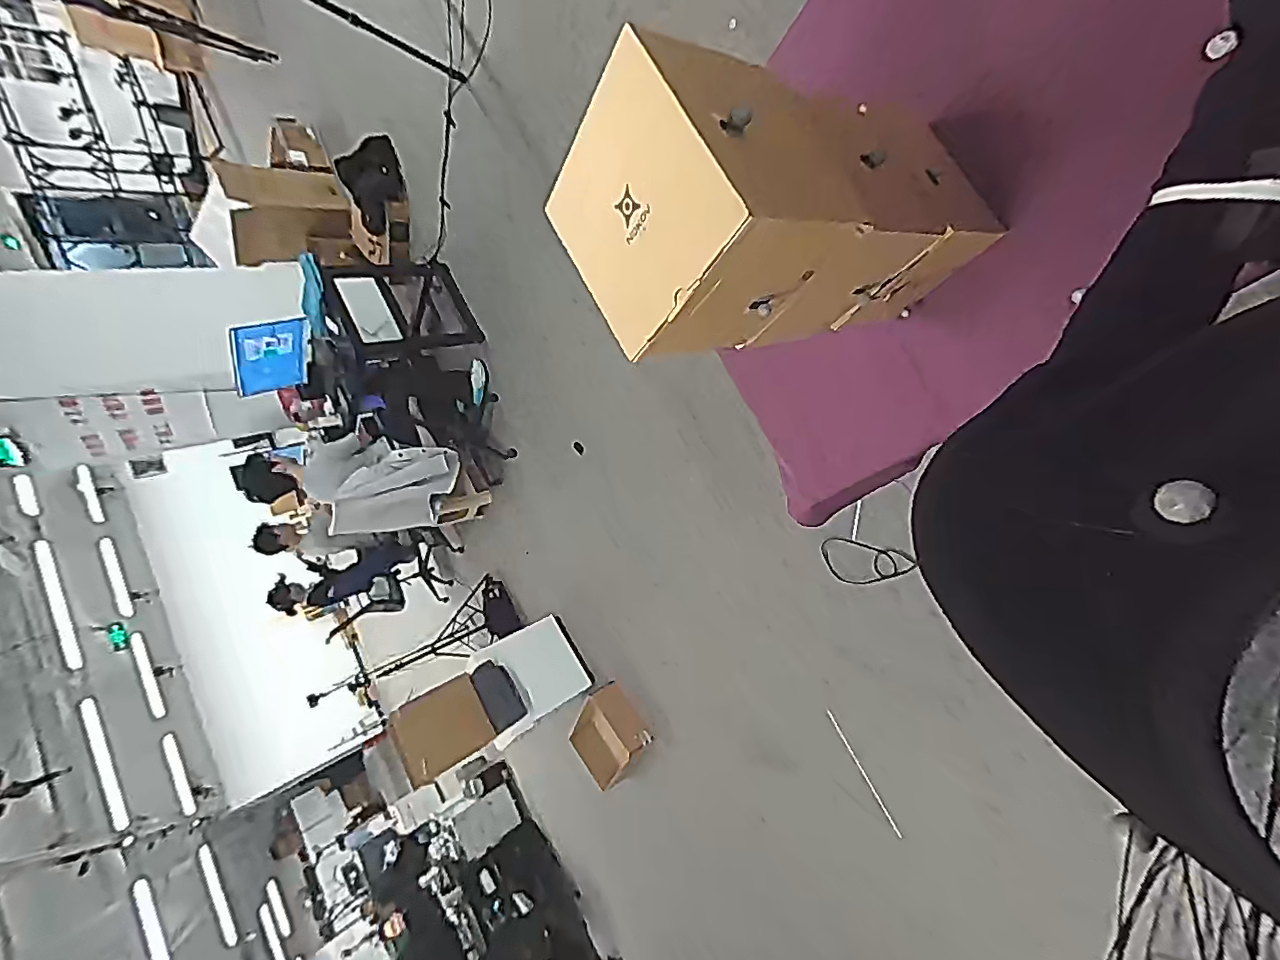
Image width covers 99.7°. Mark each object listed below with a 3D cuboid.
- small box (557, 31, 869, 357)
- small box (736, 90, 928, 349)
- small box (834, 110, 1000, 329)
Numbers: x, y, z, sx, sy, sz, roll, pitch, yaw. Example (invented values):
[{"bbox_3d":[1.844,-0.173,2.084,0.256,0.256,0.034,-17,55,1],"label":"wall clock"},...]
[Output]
[{"bbox_3d":[0.060,-0.233,0.478,0.168,0.176,0.179,-41,74,50],"label":"small box"},{"bbox_3d":[0.179,-0.267,0.586,0.179,0.176,0.168,-39,75,50],"label":"small box"},{"bbox_3d":[0.306,-0.317,0.679,0.168,0.176,0.179,-41,73,49],"label":"small box"}]
